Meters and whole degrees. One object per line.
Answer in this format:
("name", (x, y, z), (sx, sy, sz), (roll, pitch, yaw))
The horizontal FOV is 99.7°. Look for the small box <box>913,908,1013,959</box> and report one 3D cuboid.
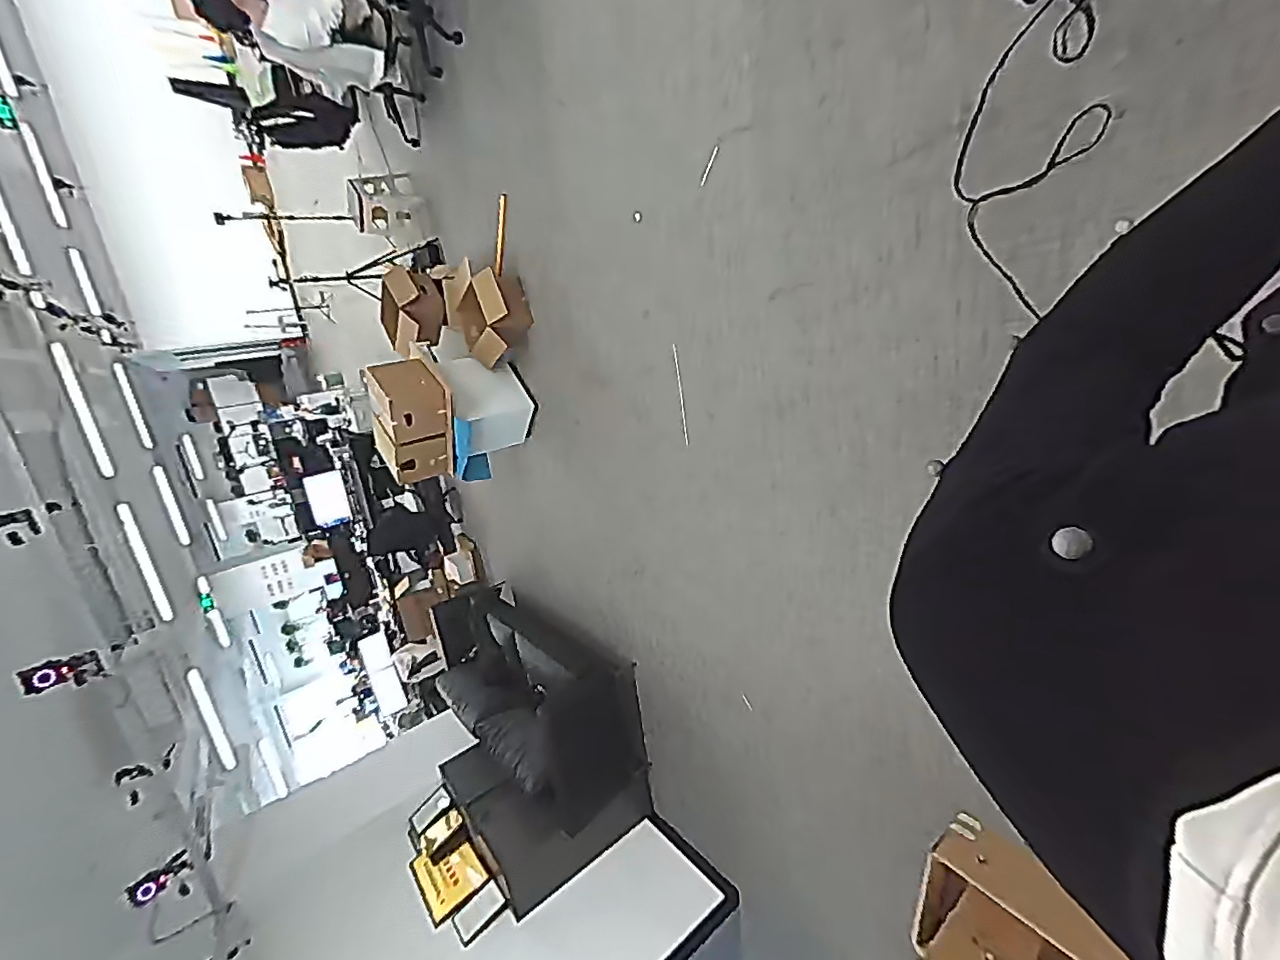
("small box", (0.750, 1.172, 1.264), (0.168, 0.176, 0.179), (23, 123, 47))
